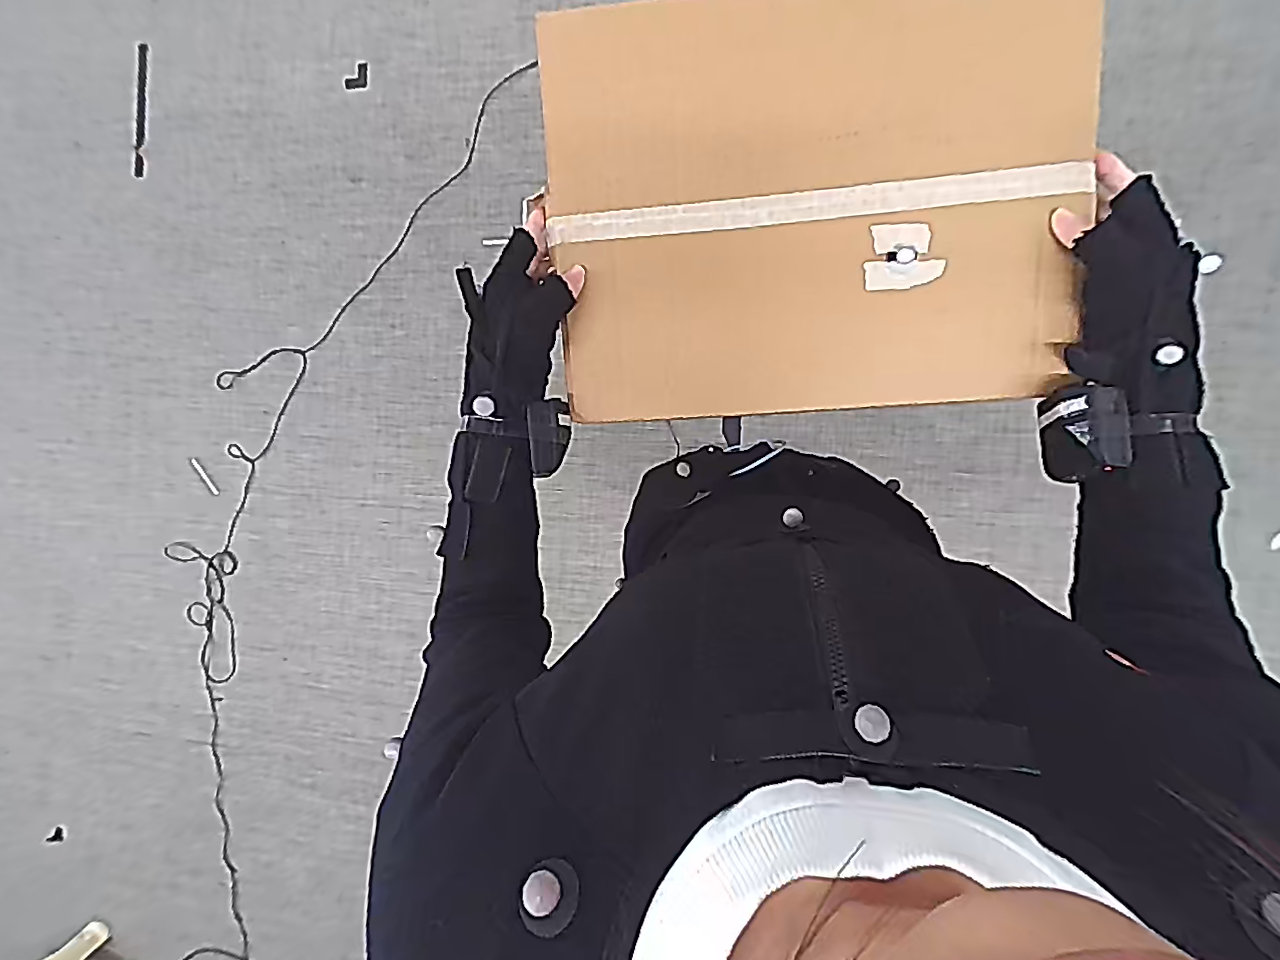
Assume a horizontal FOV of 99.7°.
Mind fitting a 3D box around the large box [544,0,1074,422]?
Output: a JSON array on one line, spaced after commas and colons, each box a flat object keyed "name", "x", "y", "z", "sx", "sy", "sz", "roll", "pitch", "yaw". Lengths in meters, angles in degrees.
[{"name": "large box", "x": 0.142, "y": -0.236, "z": 0.579, "sx": 0.408, "sy": 0.320, "sz": 0.320, "roll": -3, "pitch": 99, "yaw": 5}]
